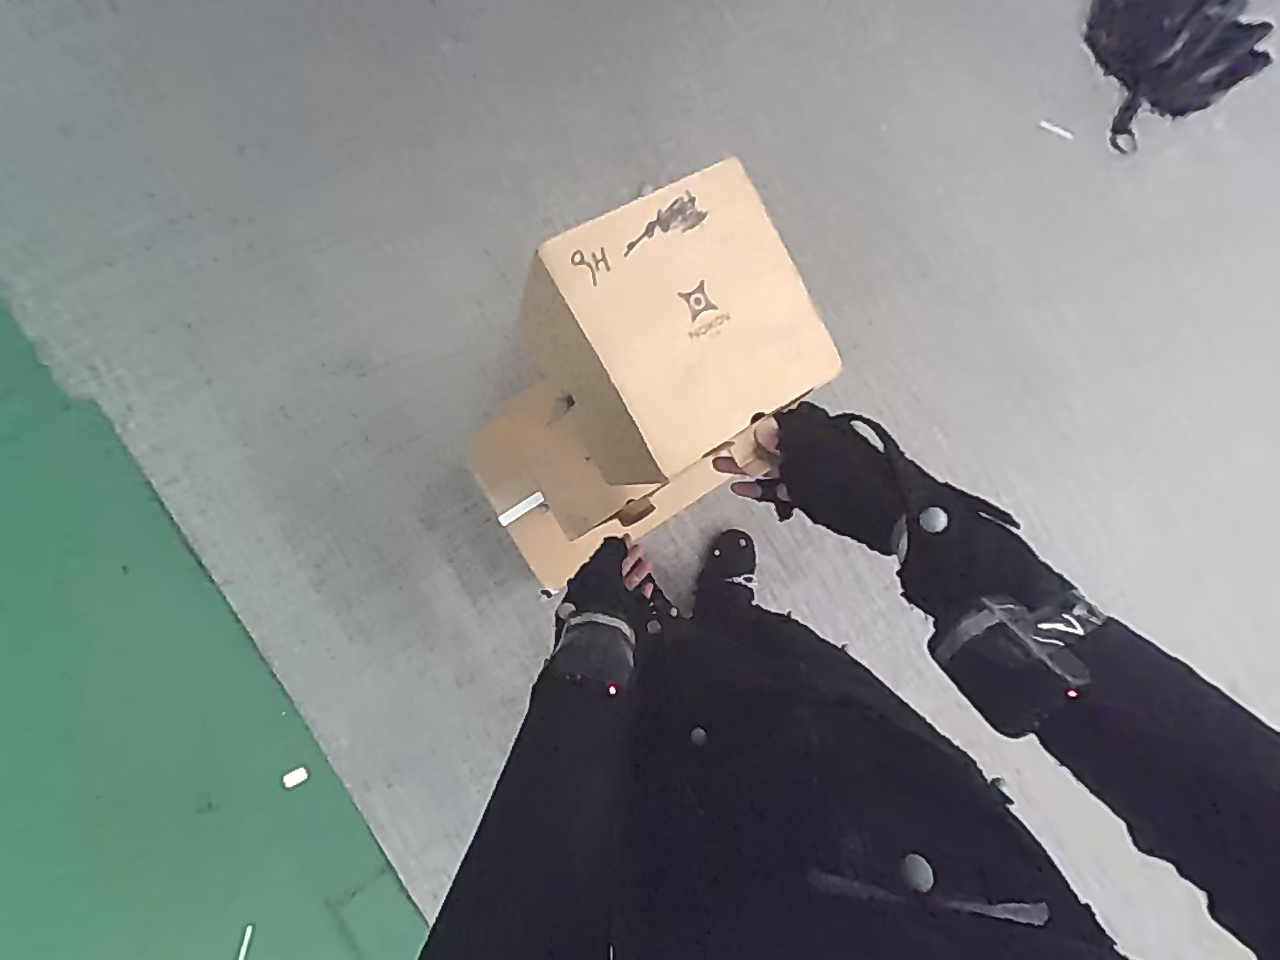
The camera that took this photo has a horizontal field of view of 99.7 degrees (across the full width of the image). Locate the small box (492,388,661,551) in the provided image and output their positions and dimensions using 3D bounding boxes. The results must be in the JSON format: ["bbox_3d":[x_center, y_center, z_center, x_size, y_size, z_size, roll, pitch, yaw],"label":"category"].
[{"bbox_3d":[-0.067,-0.035,0.699,0.168,0.176,0.179,-33,96,-7],"label":"small box"}]

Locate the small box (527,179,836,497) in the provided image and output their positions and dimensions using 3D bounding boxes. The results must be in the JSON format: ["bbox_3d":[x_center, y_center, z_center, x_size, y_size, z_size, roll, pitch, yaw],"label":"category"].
[{"bbox_3d":[0.020,-0.102,0.455,0.168,0.176,0.179,-31,98,-14],"label":"small box"}]
